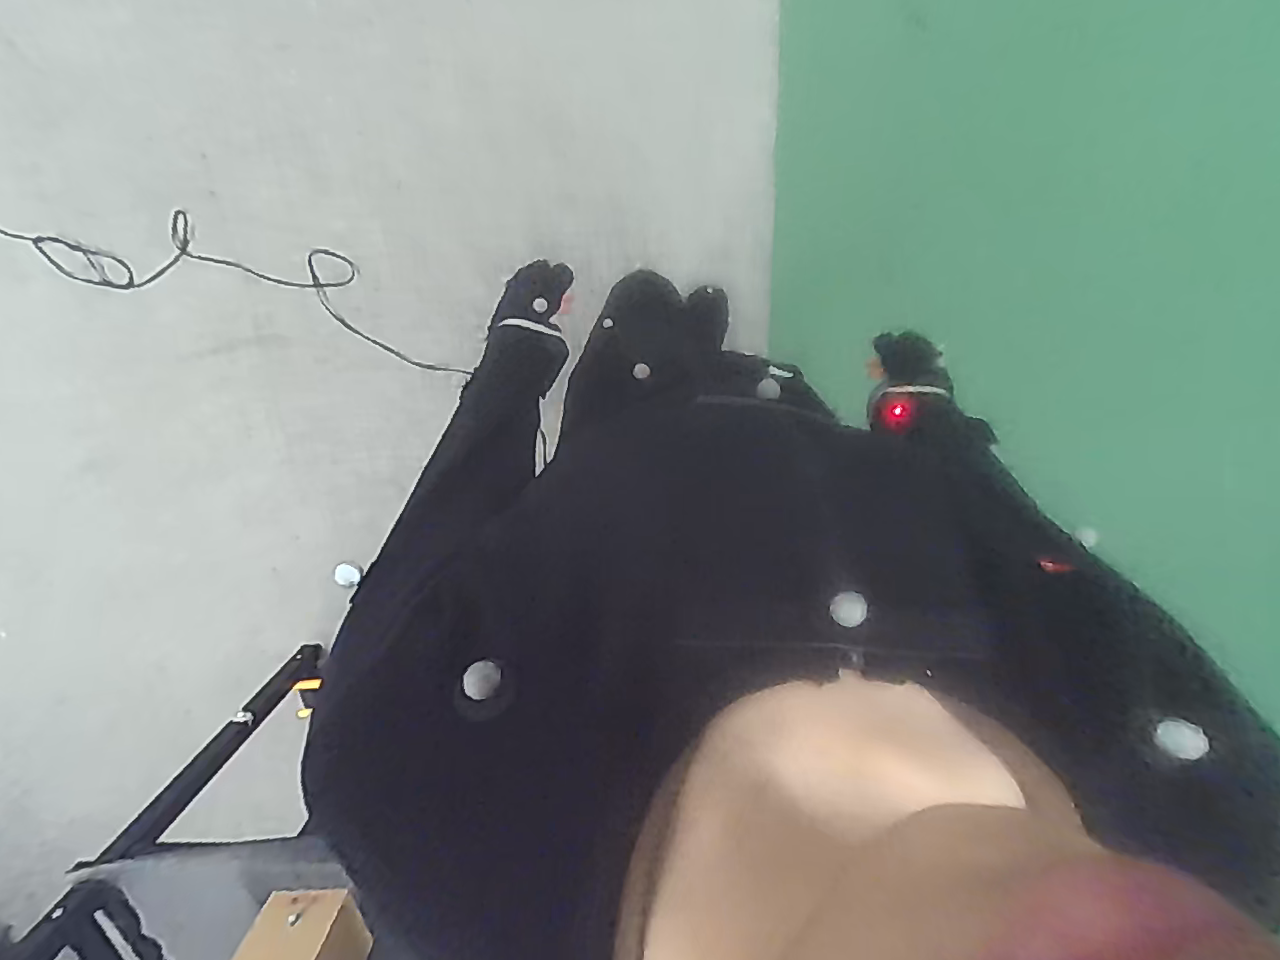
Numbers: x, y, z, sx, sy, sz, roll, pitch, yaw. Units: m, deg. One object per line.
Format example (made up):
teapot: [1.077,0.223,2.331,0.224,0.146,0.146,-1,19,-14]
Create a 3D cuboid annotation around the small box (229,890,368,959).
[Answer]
small box: [-0.654,0.926,1.033,0.168,0.176,0.179,-5,111,3]
